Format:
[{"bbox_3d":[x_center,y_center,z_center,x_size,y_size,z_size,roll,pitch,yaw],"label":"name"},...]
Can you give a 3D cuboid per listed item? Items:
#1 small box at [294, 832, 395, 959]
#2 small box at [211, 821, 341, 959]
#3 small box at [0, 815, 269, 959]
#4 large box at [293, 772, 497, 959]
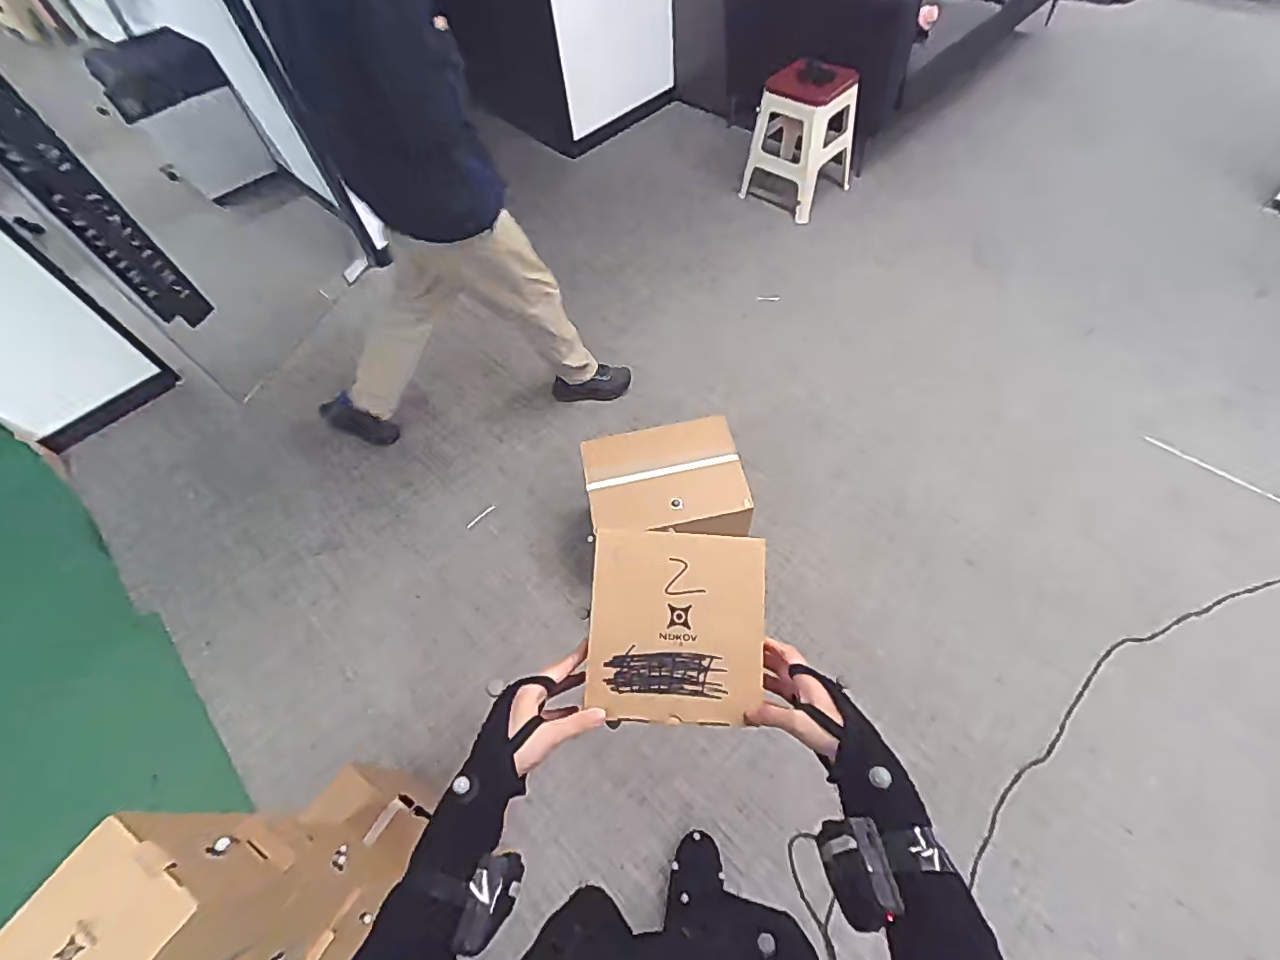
[{"bbox_3d":[-0.540,0.702,0.878,0.179,0.176,0.168,26,62,20],"label":"small box"},{"bbox_3d":[-0.552,0.607,0.746,0.168,0.176,0.179,25,62,19],"label":"small box"},{"bbox_3d":[-0.567,0.516,0.609,0.168,0.176,0.179,25,60,20],"label":"small box"},{"bbox_3d":[-0.555,0.863,1.066,0.320,0.320,0.408,24,63,21],"label":"large box"}]
